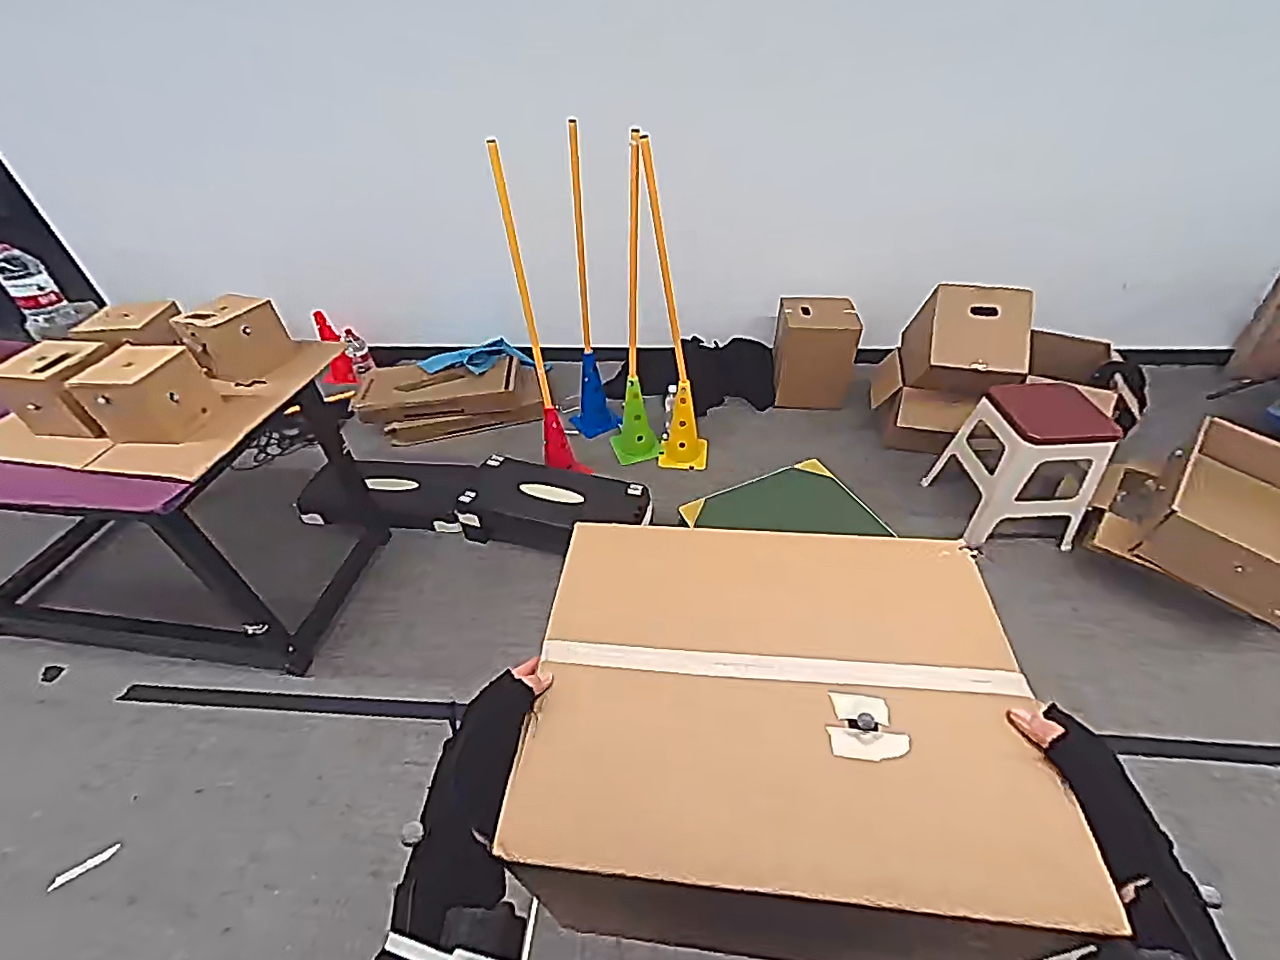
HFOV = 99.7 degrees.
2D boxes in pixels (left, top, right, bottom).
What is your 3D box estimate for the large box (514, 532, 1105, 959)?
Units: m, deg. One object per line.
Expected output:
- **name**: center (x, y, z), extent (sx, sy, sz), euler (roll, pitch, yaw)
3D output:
- **large box**: center (0.124, 0.276, 0.574), extent (0.408, 0.320, 0.320), euler (2, 44, 7)
